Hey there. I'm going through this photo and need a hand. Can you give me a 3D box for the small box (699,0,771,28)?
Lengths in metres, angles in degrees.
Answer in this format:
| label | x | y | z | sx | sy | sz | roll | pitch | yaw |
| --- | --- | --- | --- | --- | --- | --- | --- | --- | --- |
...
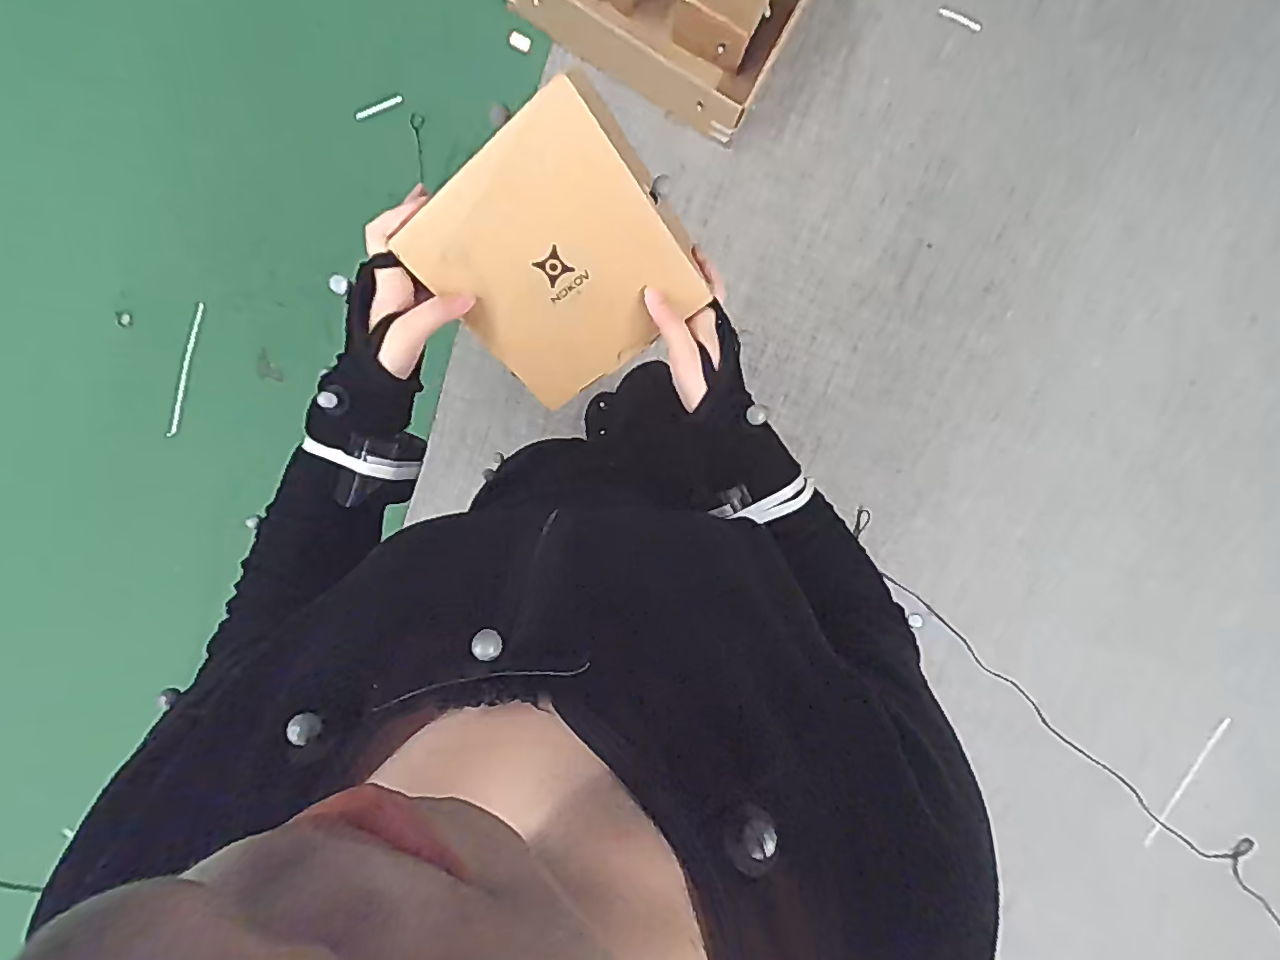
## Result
| label | x | y | z | sx | sy | sz | roll | pitch | yaw |
| --- | --- | --- | --- | --- | --- | --- | --- | --- | --- |
| small box | 0.191 | -0.987 | 0.988 | 0.179 | 0.176 | 0.168 | 28 | 101 | -5 |
